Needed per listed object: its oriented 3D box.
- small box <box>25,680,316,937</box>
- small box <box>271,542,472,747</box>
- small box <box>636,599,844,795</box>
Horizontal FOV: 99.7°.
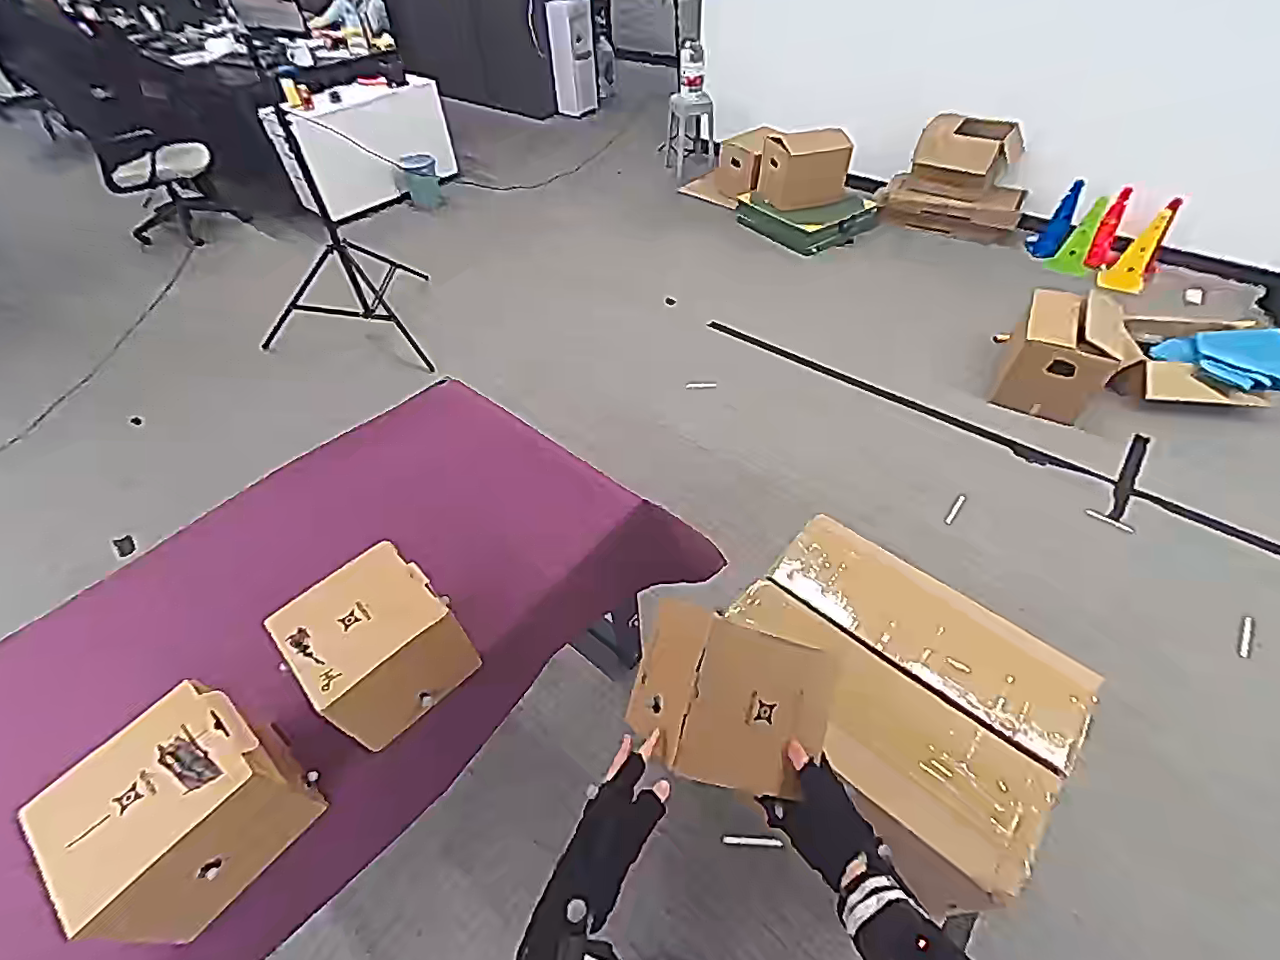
[{"bbox_3d":[-0.514,0.375,0.623,0.168,0.176,0.179,30,57,26],"label":"small box"},{"bbox_3d":[-0.355,0.227,0.750,0.168,0.176,0.179,35,58,29],"label":"small box"},{"bbox_3d":[0.112,0.252,0.667,0.179,0.176,0.168,20,80,-15],"label":"small box"}]
